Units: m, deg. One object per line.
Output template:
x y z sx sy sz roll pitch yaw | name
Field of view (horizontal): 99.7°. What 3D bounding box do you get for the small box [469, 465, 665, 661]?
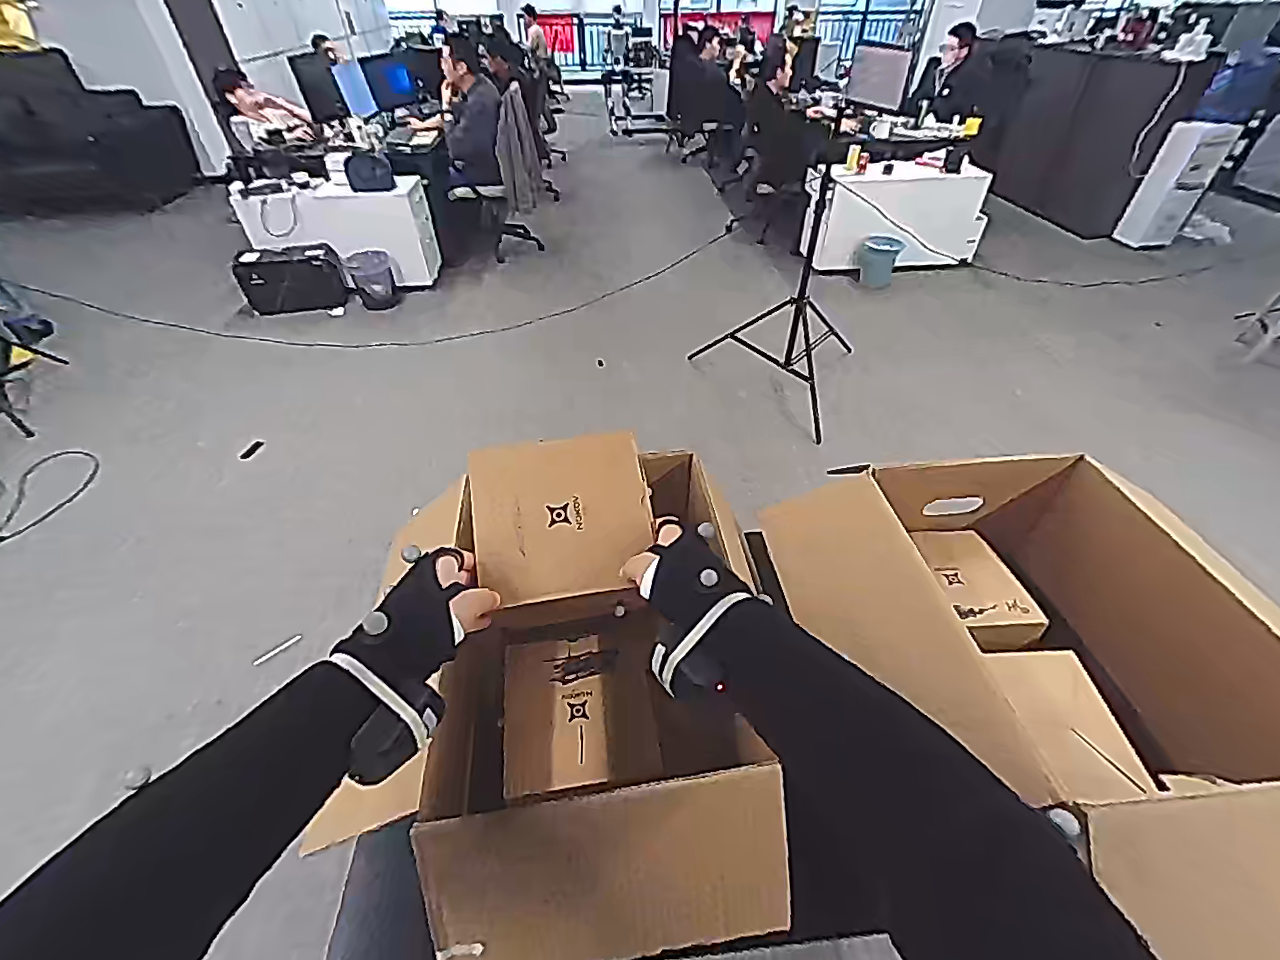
-0.079 0.098 0.596 0.179 0.176 0.168 -8 68 -6 | small box
